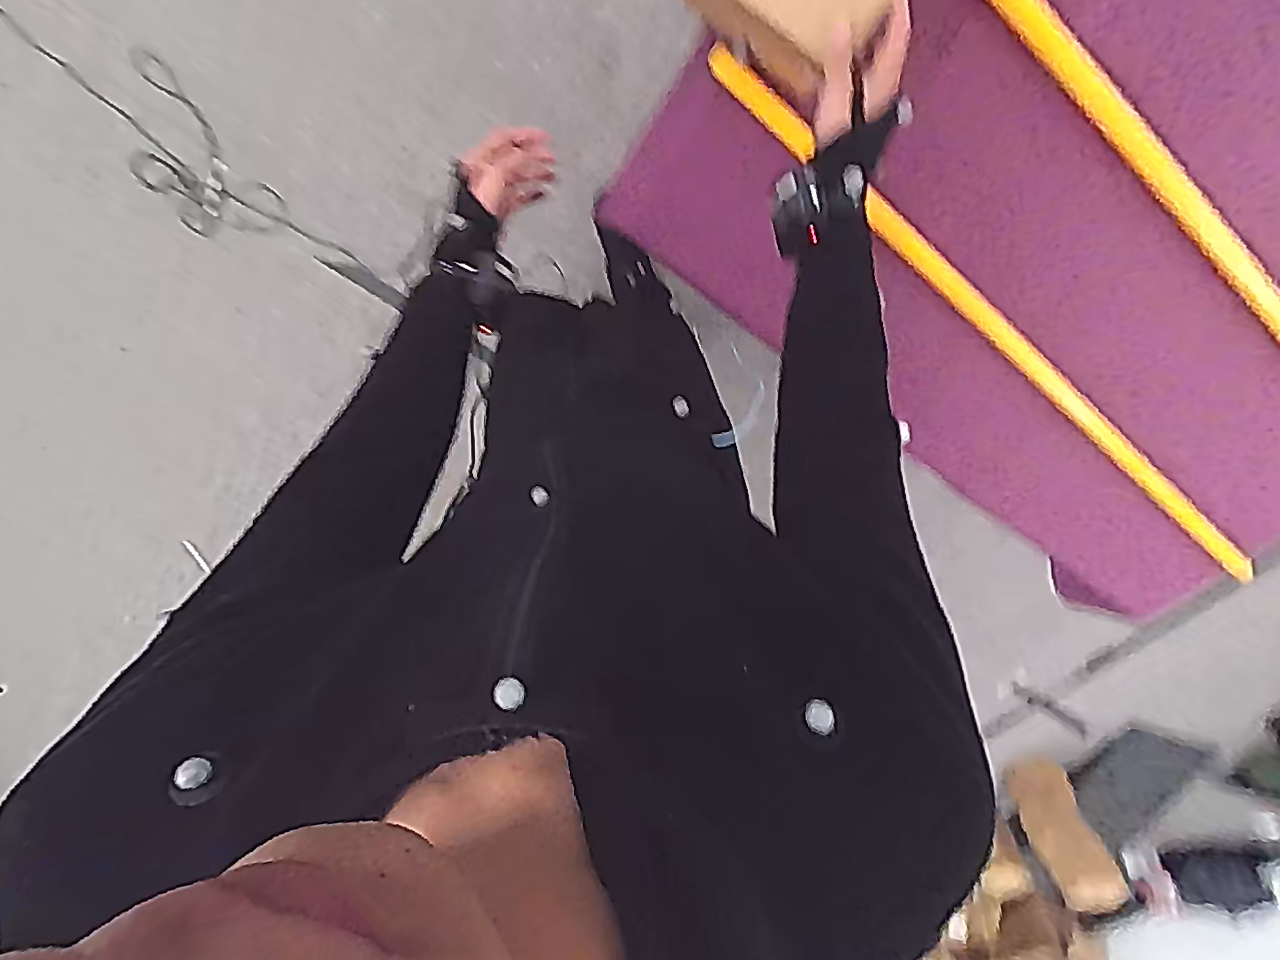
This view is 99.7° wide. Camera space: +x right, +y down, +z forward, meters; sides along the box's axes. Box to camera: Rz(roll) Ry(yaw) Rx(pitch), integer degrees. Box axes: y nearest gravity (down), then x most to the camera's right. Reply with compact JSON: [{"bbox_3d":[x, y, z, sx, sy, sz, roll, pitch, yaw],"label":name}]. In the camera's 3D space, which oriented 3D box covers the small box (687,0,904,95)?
[{"bbox_3d":[0.157,-0.492,0.499,0.179,0.176,0.168,29,118,-13],"label":"small box"}]
